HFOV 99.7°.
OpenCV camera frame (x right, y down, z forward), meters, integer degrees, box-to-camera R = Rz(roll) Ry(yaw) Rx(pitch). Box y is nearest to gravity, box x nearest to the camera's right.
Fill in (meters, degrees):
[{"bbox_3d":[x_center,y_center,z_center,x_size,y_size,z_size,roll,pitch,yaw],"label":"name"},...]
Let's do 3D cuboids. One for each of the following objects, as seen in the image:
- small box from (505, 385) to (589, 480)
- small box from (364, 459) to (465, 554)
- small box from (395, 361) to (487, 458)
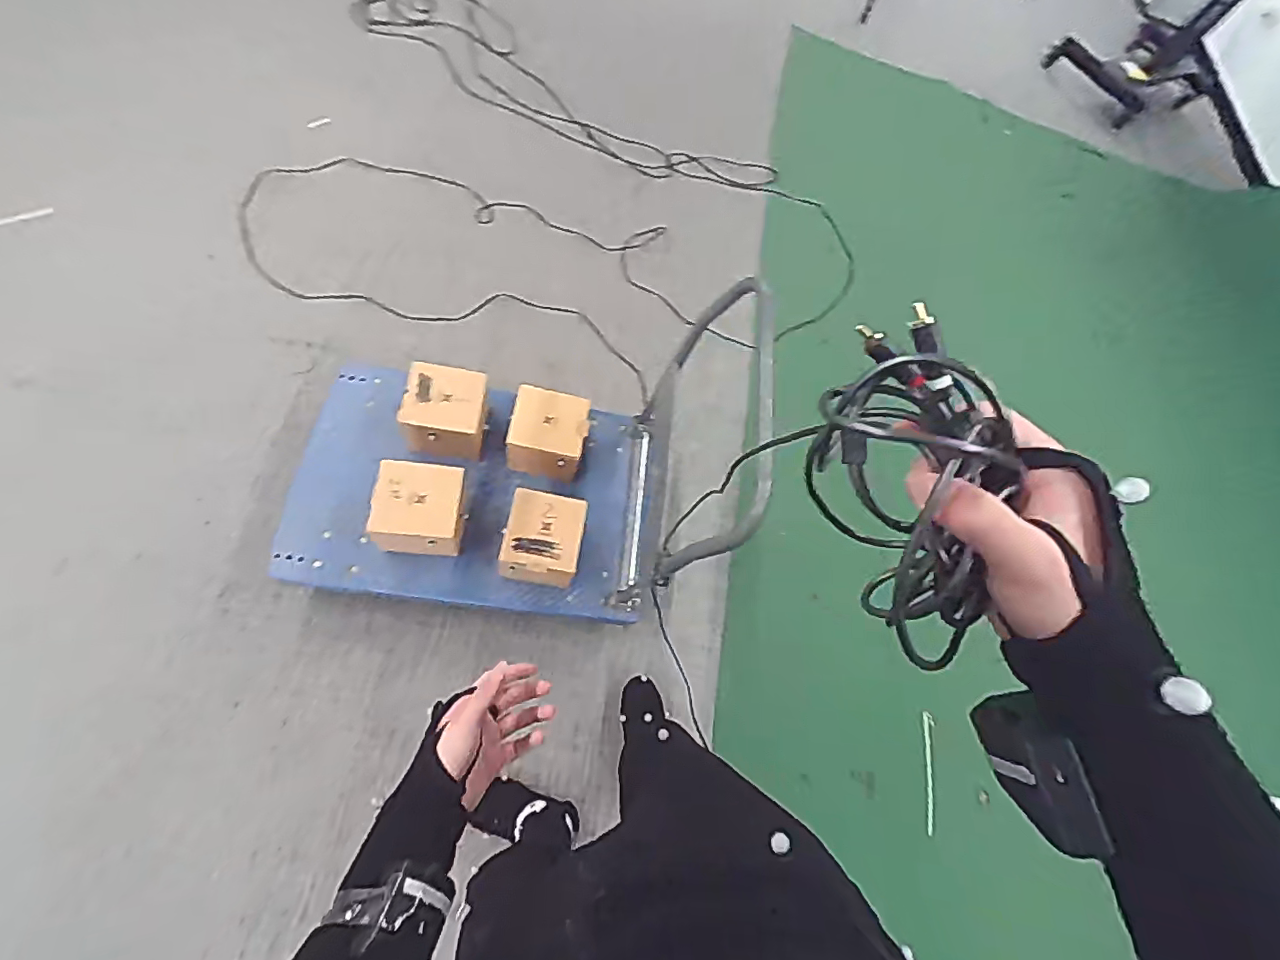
[{"bbox_3d":[-0.239,-0.114,1.372,0.179,0.176,0.168,12,67,-10],"label":"small box"},{"bbox_3d":[-0.502,0.068,1.232,0.179,0.176,0.168,6,67,-12],"label":"small box"},{"bbox_3d":[-0.479,-0.166,1.329,0.179,0.176,0.168,9,68,-11],"label":"small box"}]
